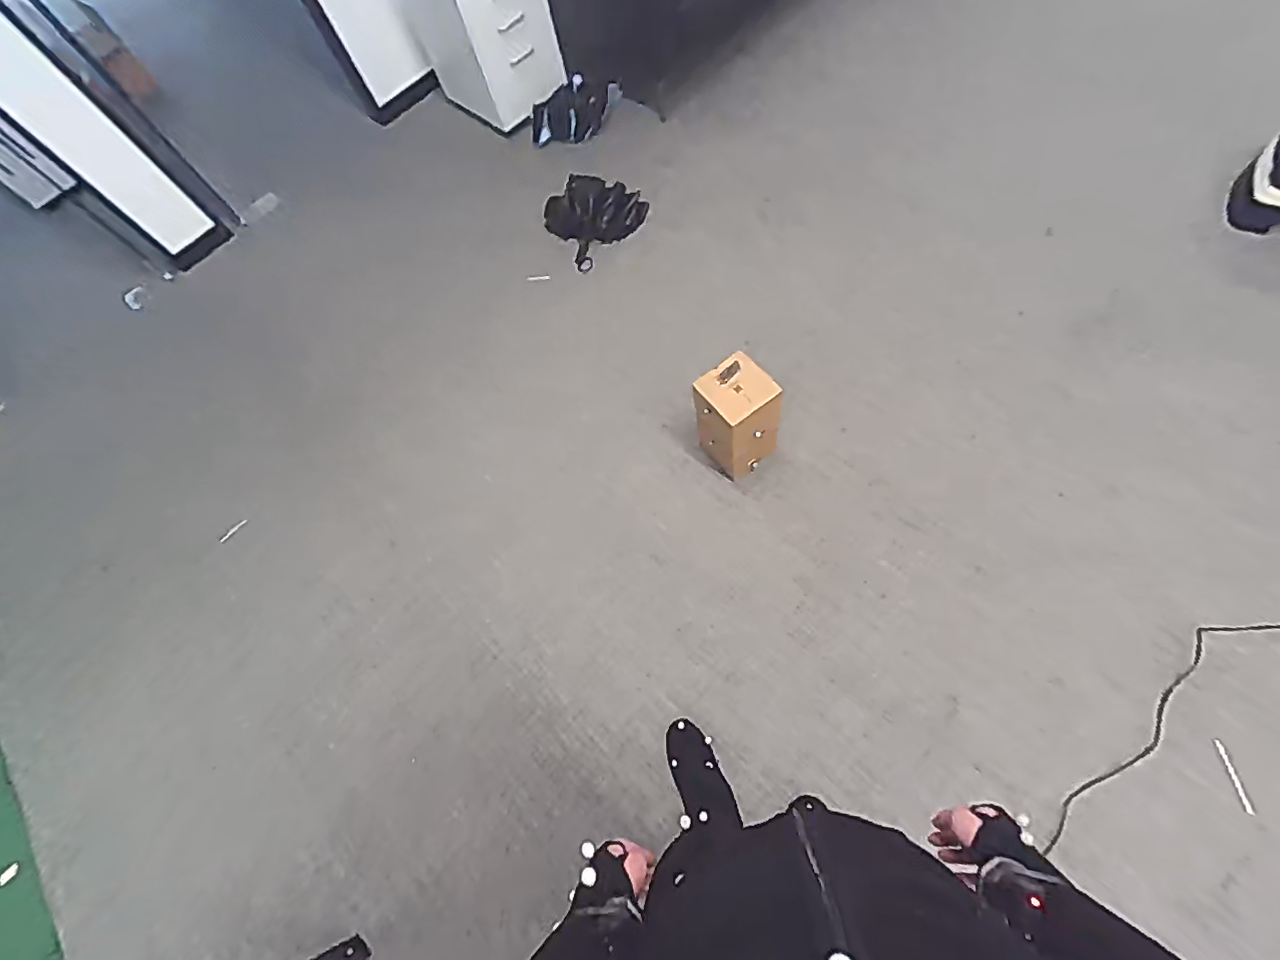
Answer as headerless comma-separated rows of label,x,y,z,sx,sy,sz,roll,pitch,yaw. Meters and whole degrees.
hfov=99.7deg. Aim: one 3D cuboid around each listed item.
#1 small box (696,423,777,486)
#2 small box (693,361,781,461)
small box,0.287,-0.113,1.629,0.168,0.176,0.179,-36,65,-7
small box,0.263,-0.184,1.482,0.168,0.176,0.179,-35,65,-7
